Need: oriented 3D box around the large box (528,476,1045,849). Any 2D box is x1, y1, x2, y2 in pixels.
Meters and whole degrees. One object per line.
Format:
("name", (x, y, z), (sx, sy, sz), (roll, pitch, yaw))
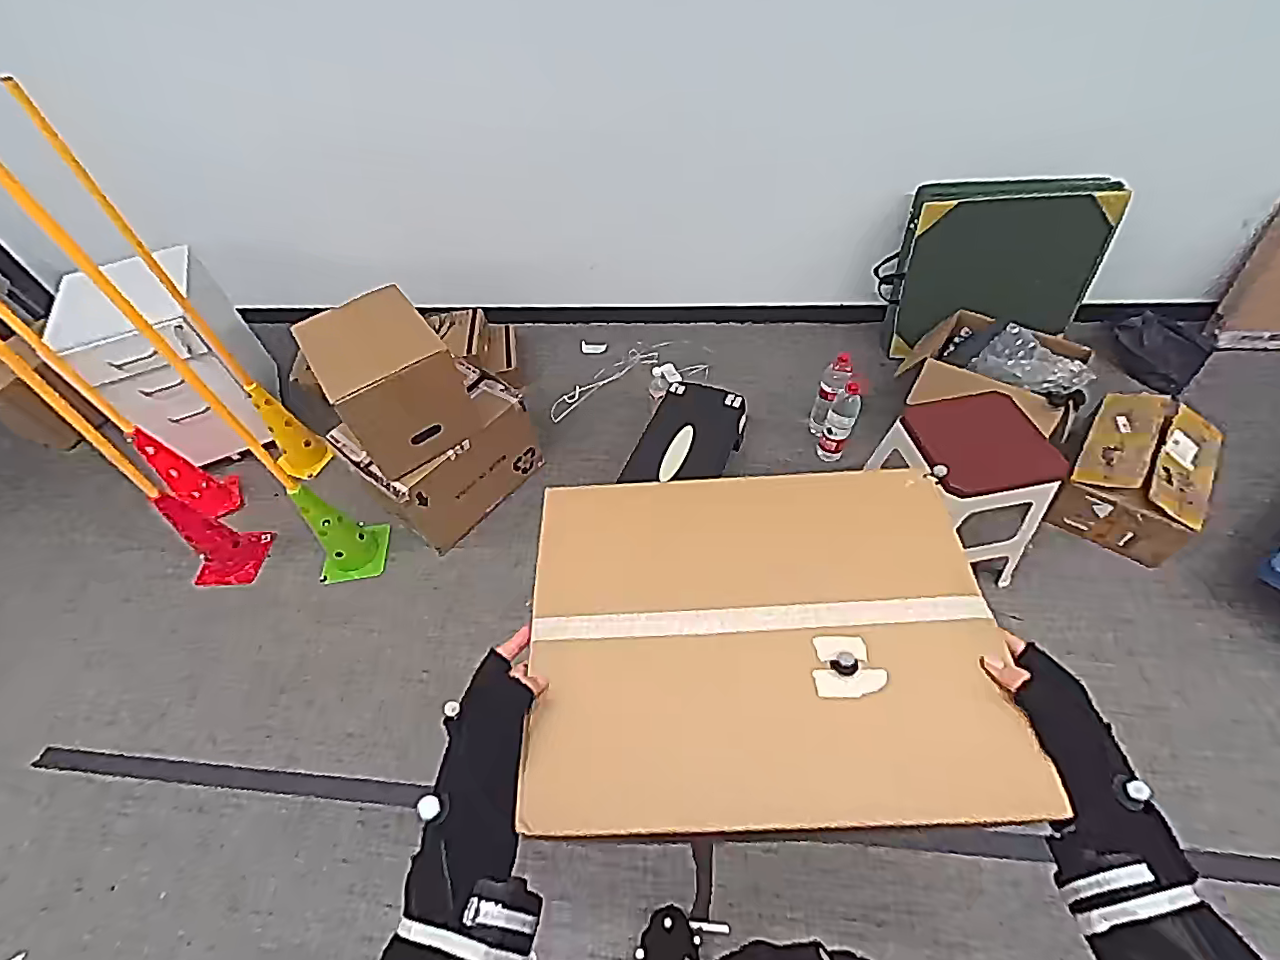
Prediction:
("large box", (0.112, 0.219, 0.617), (0.408, 0.320, 0.320), (-3, 54, 2))
